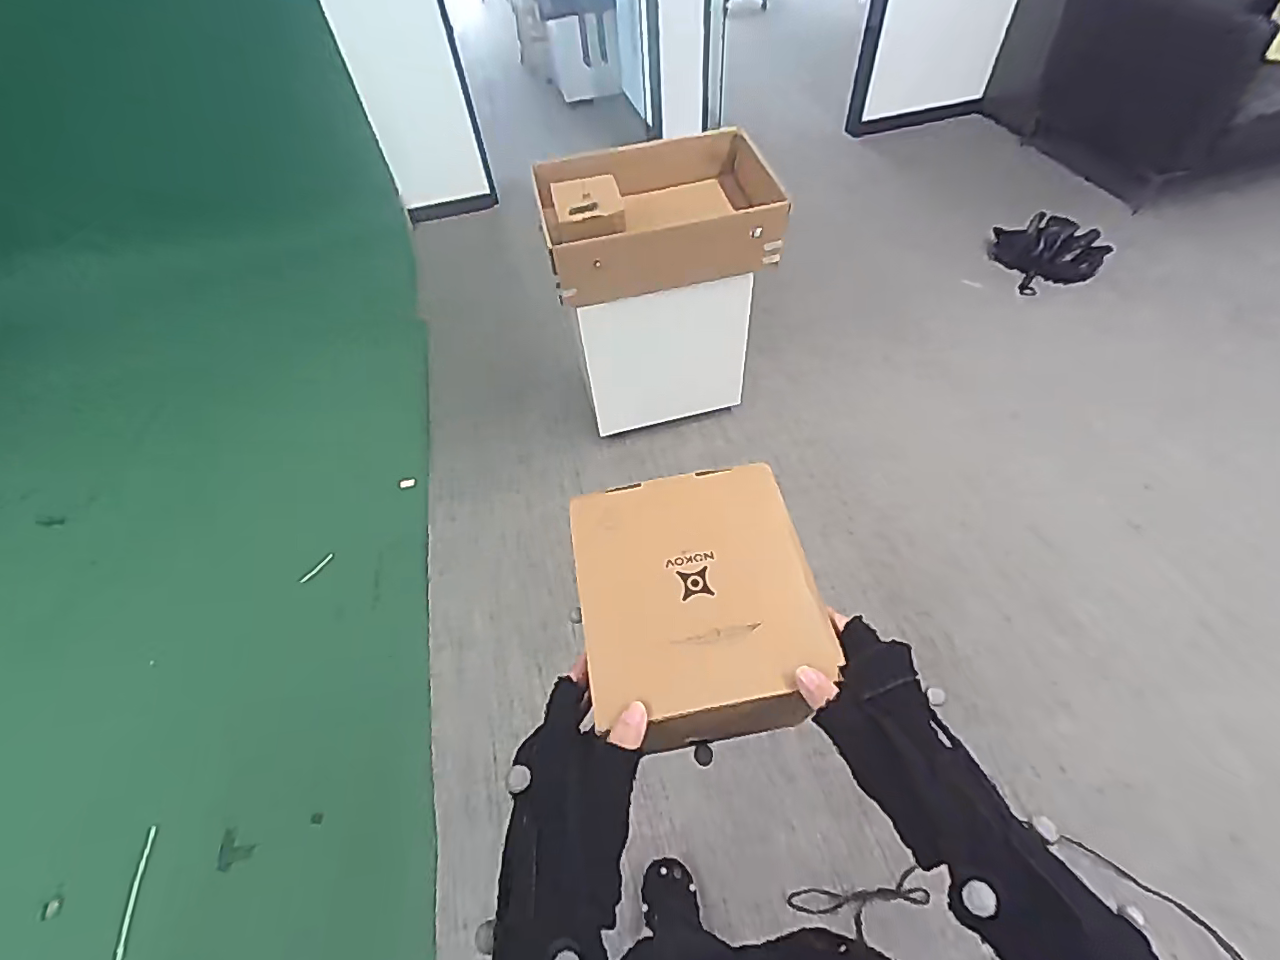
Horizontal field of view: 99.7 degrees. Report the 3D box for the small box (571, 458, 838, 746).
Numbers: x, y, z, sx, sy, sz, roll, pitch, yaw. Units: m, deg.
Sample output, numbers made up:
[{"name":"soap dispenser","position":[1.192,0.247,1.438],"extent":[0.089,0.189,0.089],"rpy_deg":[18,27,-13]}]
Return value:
[{"name":"small box","position":[0.040,0.109,0.458],"extent":[0.168,0.176,0.179],"rpy_deg":[-10,57,-2]}]
